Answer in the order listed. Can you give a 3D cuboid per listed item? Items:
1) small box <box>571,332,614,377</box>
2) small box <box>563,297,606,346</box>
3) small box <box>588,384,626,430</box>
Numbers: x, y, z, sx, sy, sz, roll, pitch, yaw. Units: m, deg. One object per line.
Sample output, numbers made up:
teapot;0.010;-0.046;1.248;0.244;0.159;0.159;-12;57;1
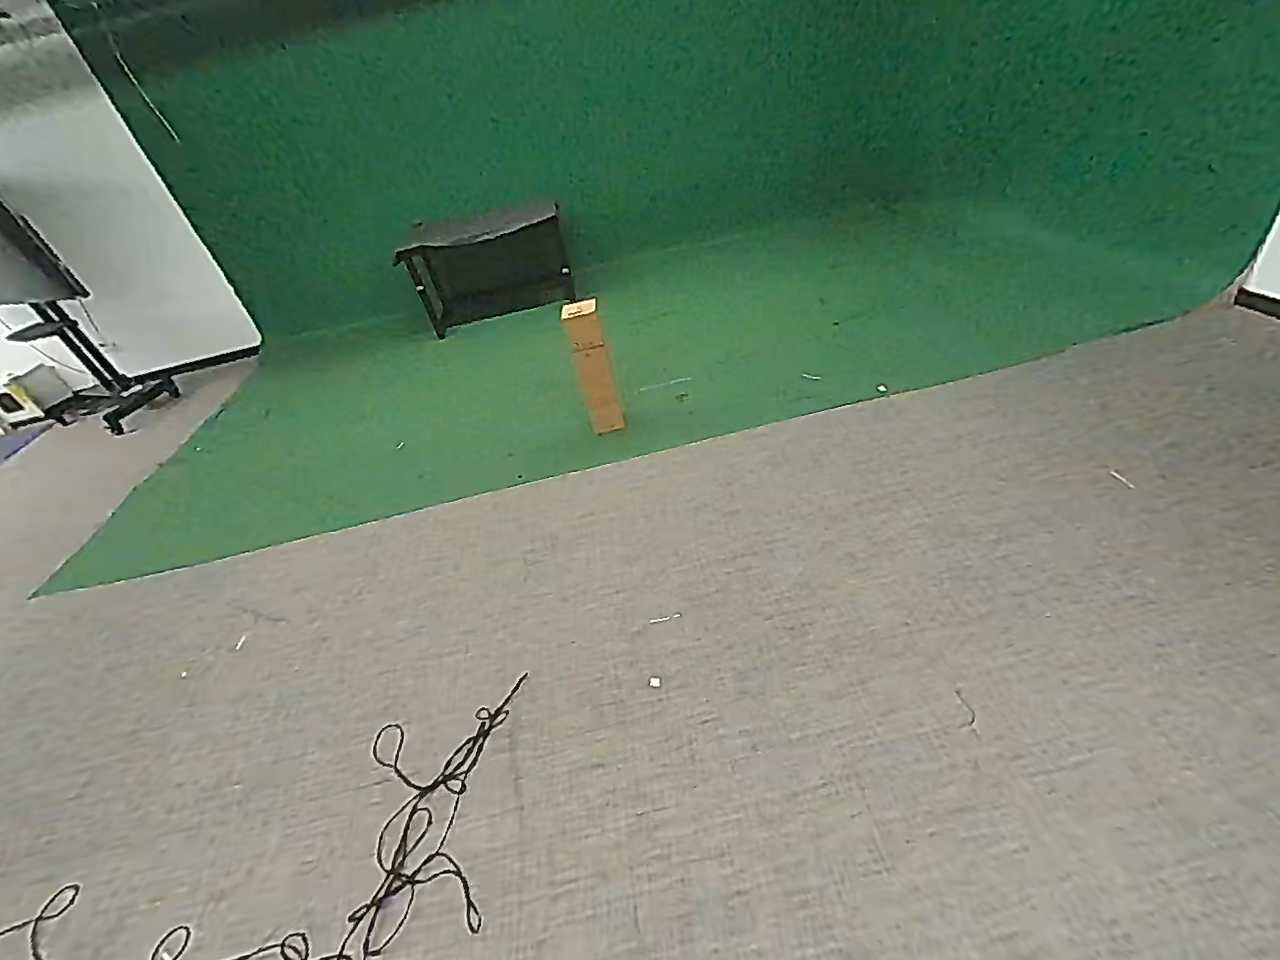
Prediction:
small box;-0.238;-0.636;2.709;0.179;0.176;0.168;-12;38;3
small box;-0.264;-0.756;2.600;0.168;0.176;0.179;-11;37;5
small box;-0.178;-0.386;2.915;0.168;0.176;0.179;-14;37;1
